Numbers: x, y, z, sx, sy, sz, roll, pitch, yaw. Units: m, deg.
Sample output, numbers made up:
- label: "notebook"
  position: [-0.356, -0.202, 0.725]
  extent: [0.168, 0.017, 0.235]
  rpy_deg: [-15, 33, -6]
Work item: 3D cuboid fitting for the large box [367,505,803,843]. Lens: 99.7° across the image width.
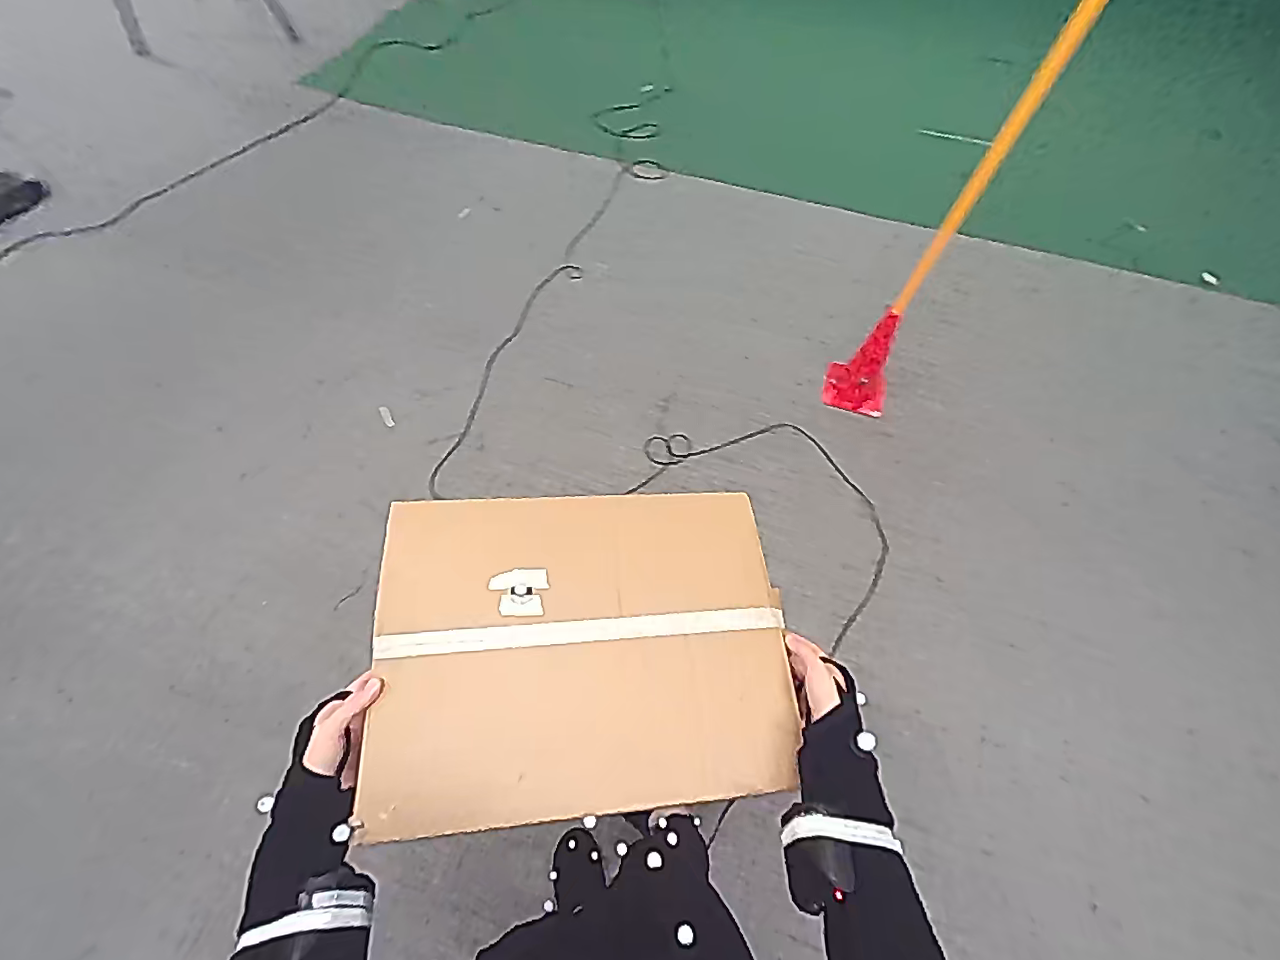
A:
- label: "large box"
  position: [-0.067, 0.239, 0.686]
  extent: [0.408, 0.320, 0.320]
  rpy_deg: [-1, 61, -8]
